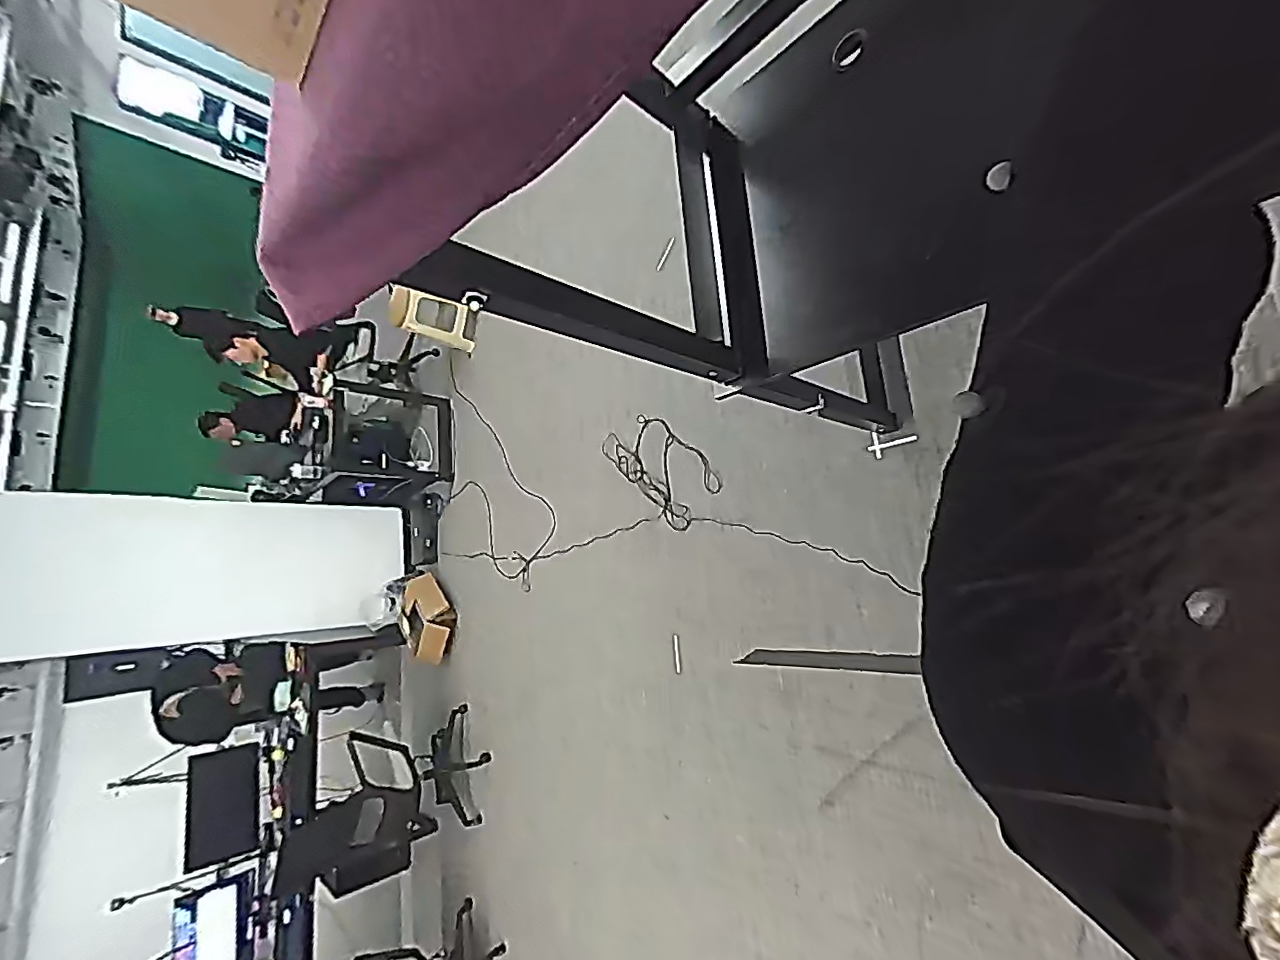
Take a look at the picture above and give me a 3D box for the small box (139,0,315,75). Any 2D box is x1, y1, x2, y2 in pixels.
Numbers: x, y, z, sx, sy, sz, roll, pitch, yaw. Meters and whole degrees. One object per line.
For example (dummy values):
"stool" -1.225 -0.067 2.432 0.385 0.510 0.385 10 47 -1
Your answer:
"small box" -0.309 -0.437 0.363 0.168 0.176 0.179 -17 73 45
